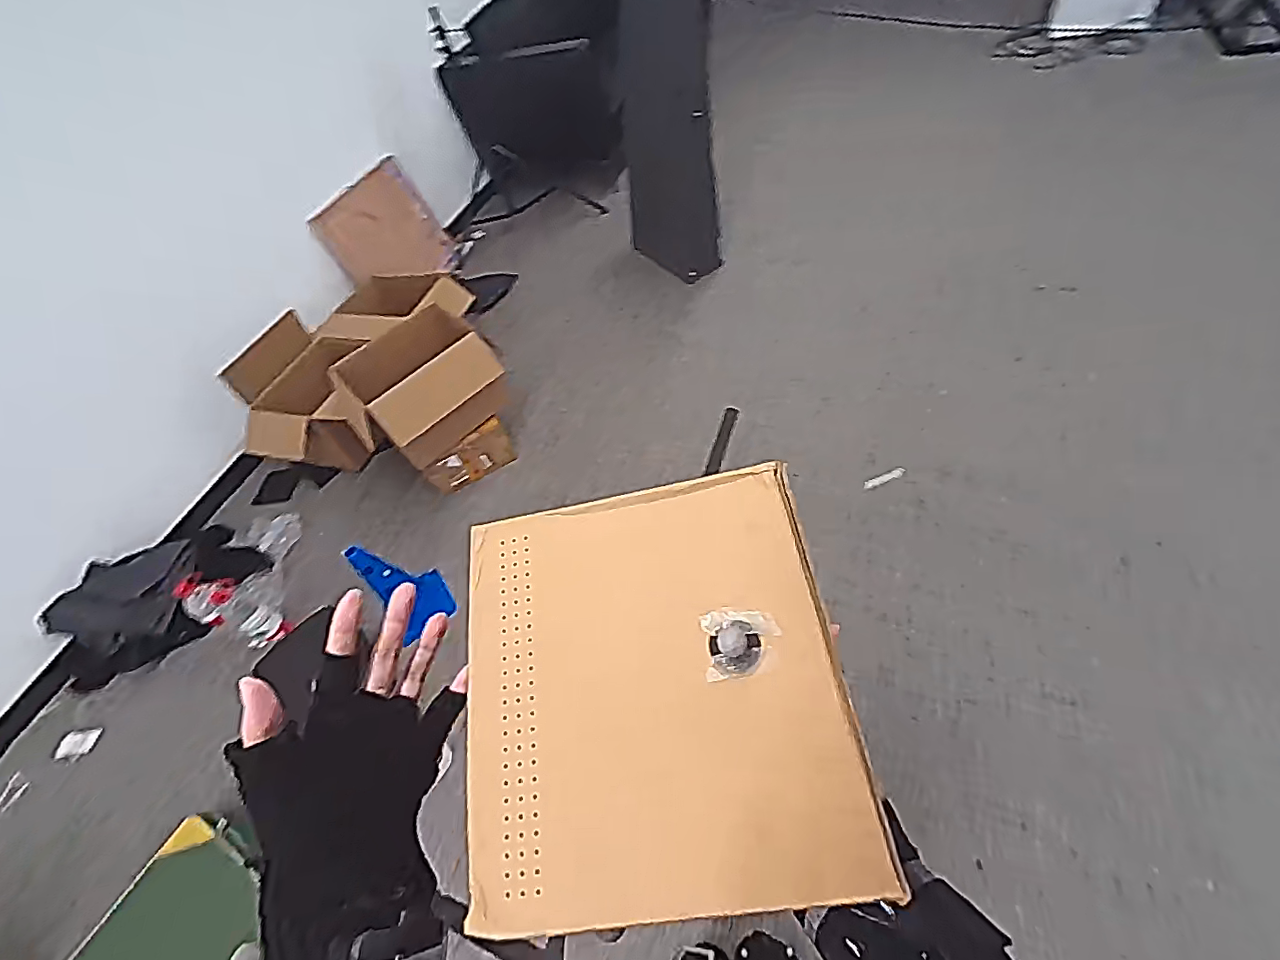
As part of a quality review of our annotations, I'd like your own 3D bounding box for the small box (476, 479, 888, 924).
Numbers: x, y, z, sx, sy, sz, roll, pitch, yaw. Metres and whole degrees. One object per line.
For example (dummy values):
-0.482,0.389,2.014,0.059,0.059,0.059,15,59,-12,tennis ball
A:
0.018,0.125,0.317,0.176,0.168,0.179,-12,62,9,small box
